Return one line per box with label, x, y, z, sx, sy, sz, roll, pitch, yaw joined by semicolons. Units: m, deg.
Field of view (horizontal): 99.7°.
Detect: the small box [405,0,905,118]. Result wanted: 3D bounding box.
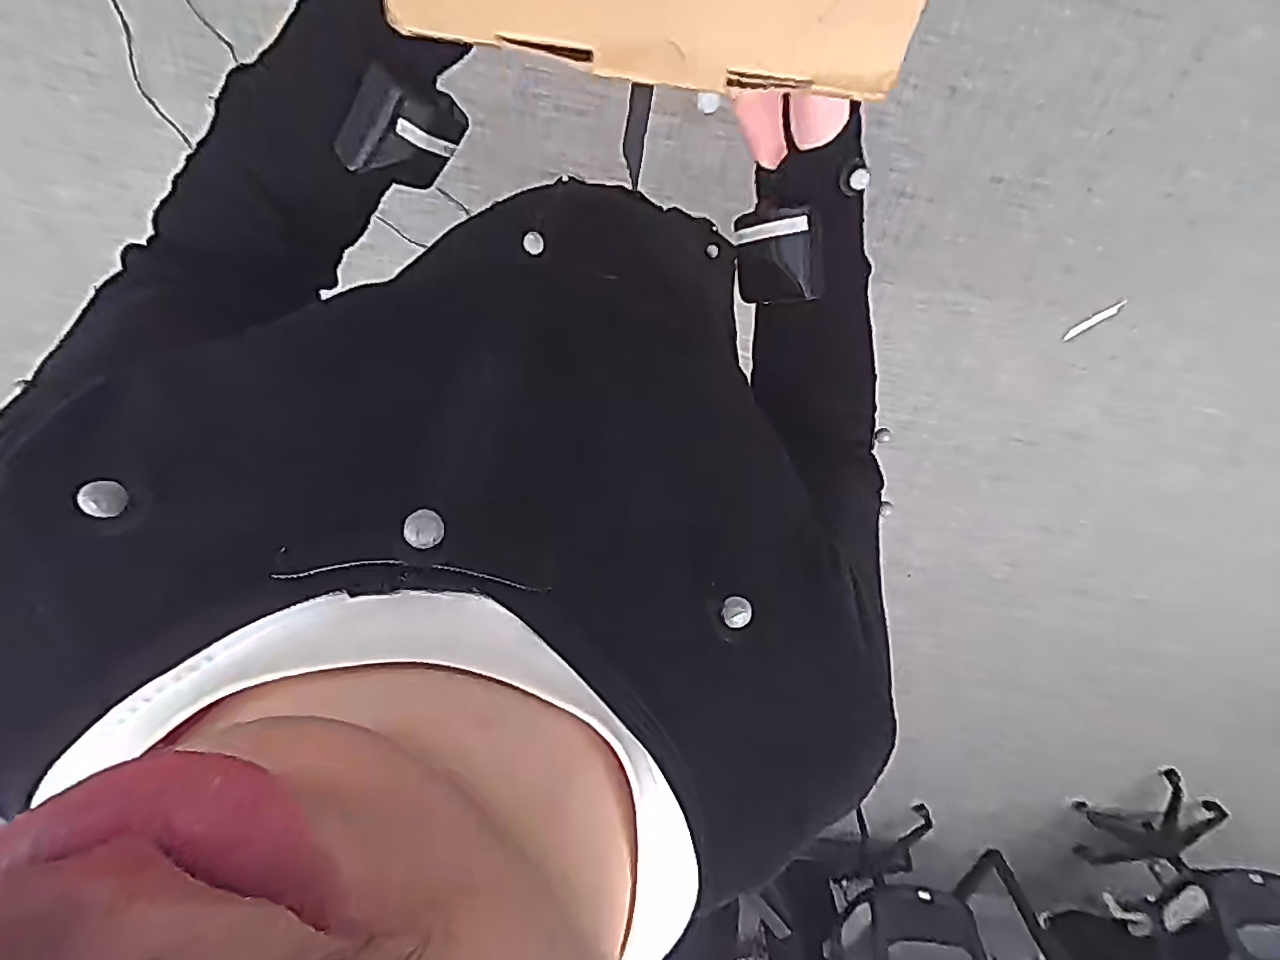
small box;0.006;-0.256;0.196;0.168;0.176;0.179;0;129;-12
